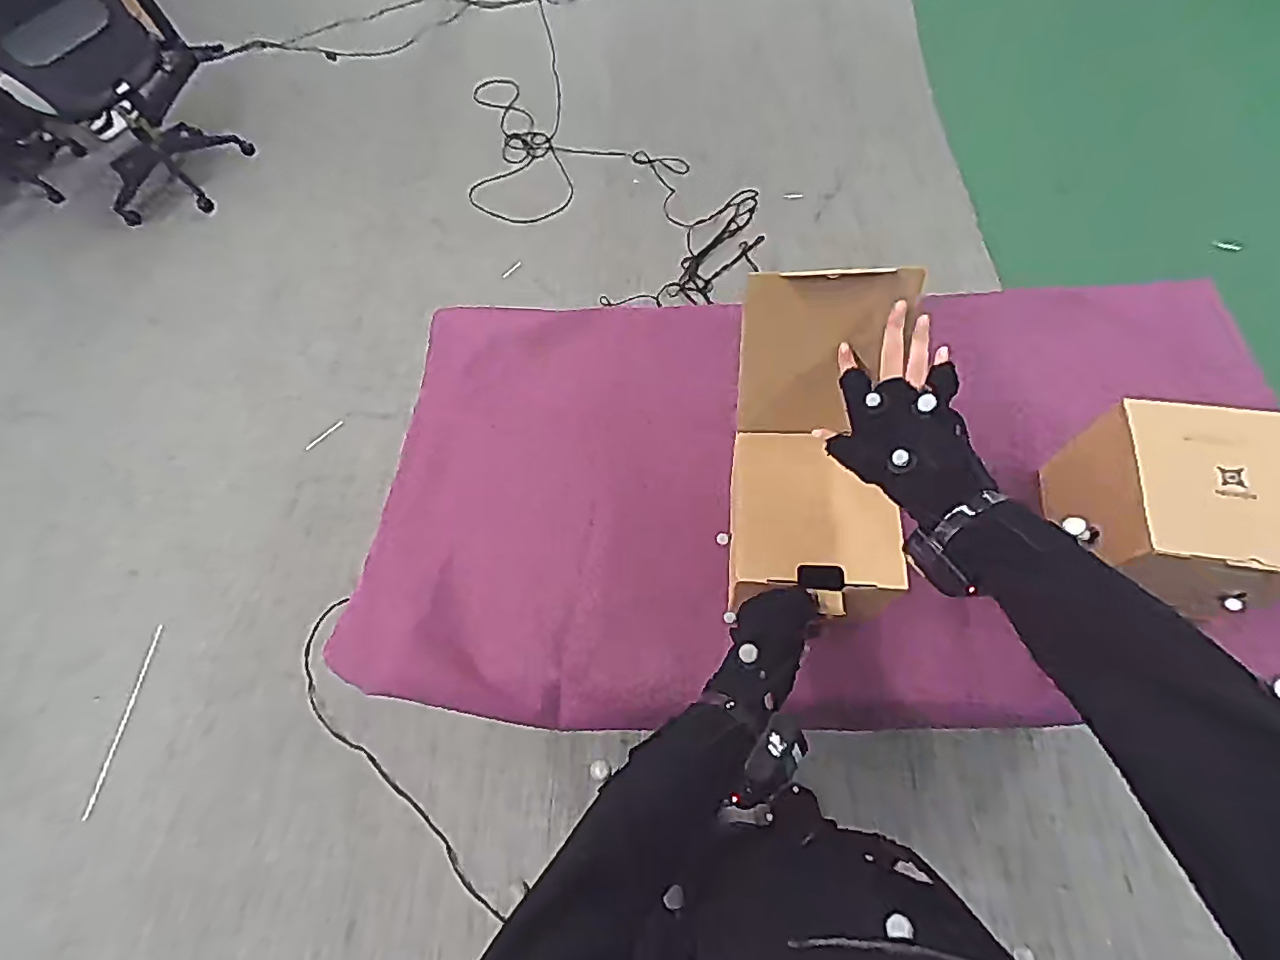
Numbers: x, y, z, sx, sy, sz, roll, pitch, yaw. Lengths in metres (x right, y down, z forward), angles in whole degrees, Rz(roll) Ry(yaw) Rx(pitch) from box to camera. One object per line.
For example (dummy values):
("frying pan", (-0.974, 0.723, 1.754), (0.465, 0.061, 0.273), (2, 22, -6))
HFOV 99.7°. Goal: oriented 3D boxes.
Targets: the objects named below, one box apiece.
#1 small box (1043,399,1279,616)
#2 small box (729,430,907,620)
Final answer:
("small box", (0.578, 0.037, 0.590), (0.168, 0.176, 0.179), (9, 65, 11))
("small box", (0.191, 0.059, 0.629), (0.168, 0.176, 0.179), (2, 65, 8))
